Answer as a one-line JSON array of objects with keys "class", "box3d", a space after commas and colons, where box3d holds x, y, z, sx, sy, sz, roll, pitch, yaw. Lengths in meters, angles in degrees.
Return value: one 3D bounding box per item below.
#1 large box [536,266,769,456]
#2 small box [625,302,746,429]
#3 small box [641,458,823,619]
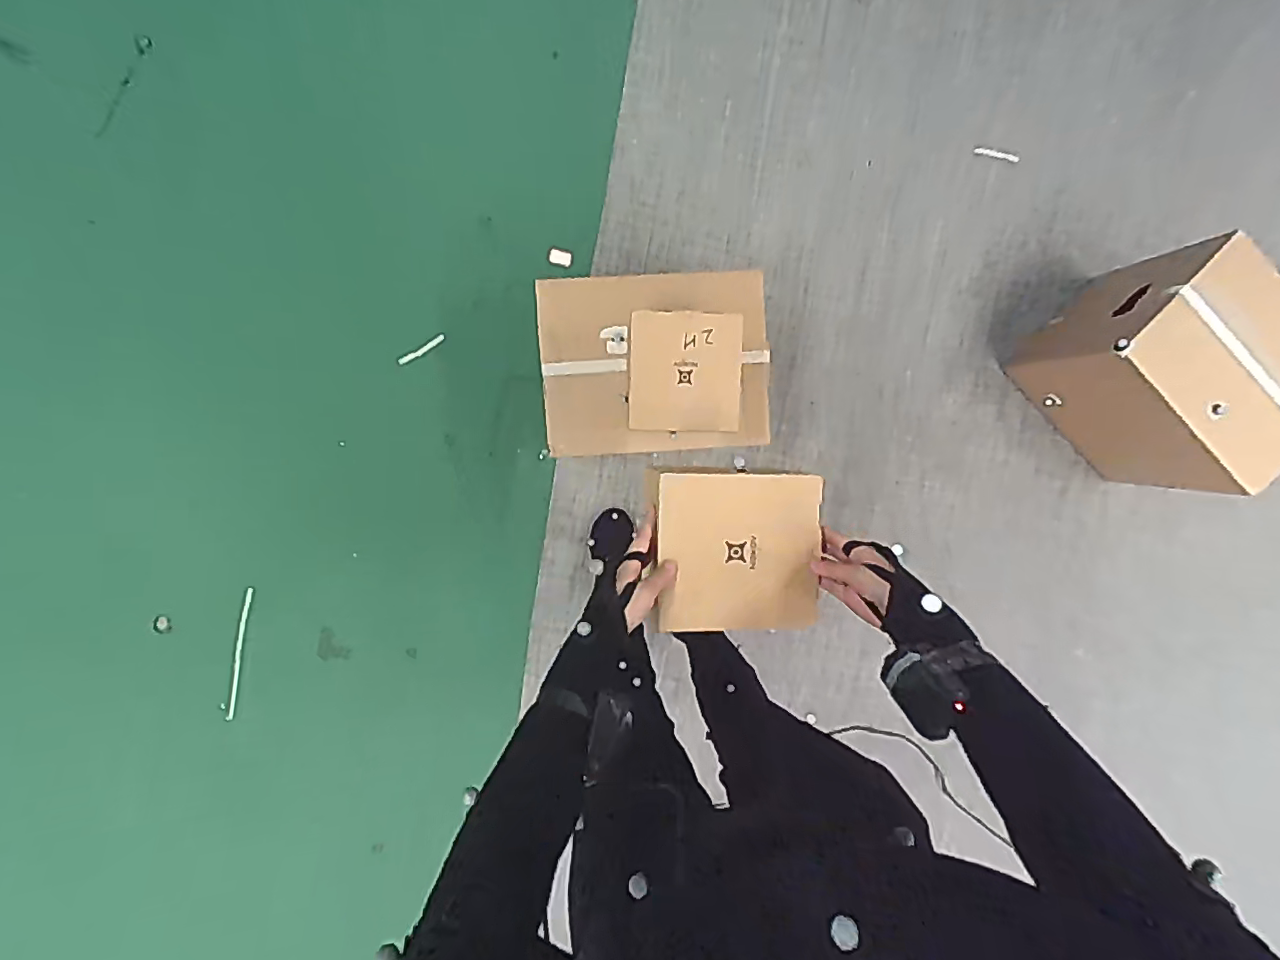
[{"class": "large box", "box3d": [0.022, -0.223, 1.105, 0.408, 0.320, 0.320, -4, 94, -2]}, {"class": "small box", "box3d": [0.063, -0.173, 0.863, 0.168, 0.176, 0.179, 2, 95, -4]}, {"class": "small box", "box3d": [0.095, 0.060, 0.637, 0.179, 0.176, 0.168, 1, 93, -7]}]
